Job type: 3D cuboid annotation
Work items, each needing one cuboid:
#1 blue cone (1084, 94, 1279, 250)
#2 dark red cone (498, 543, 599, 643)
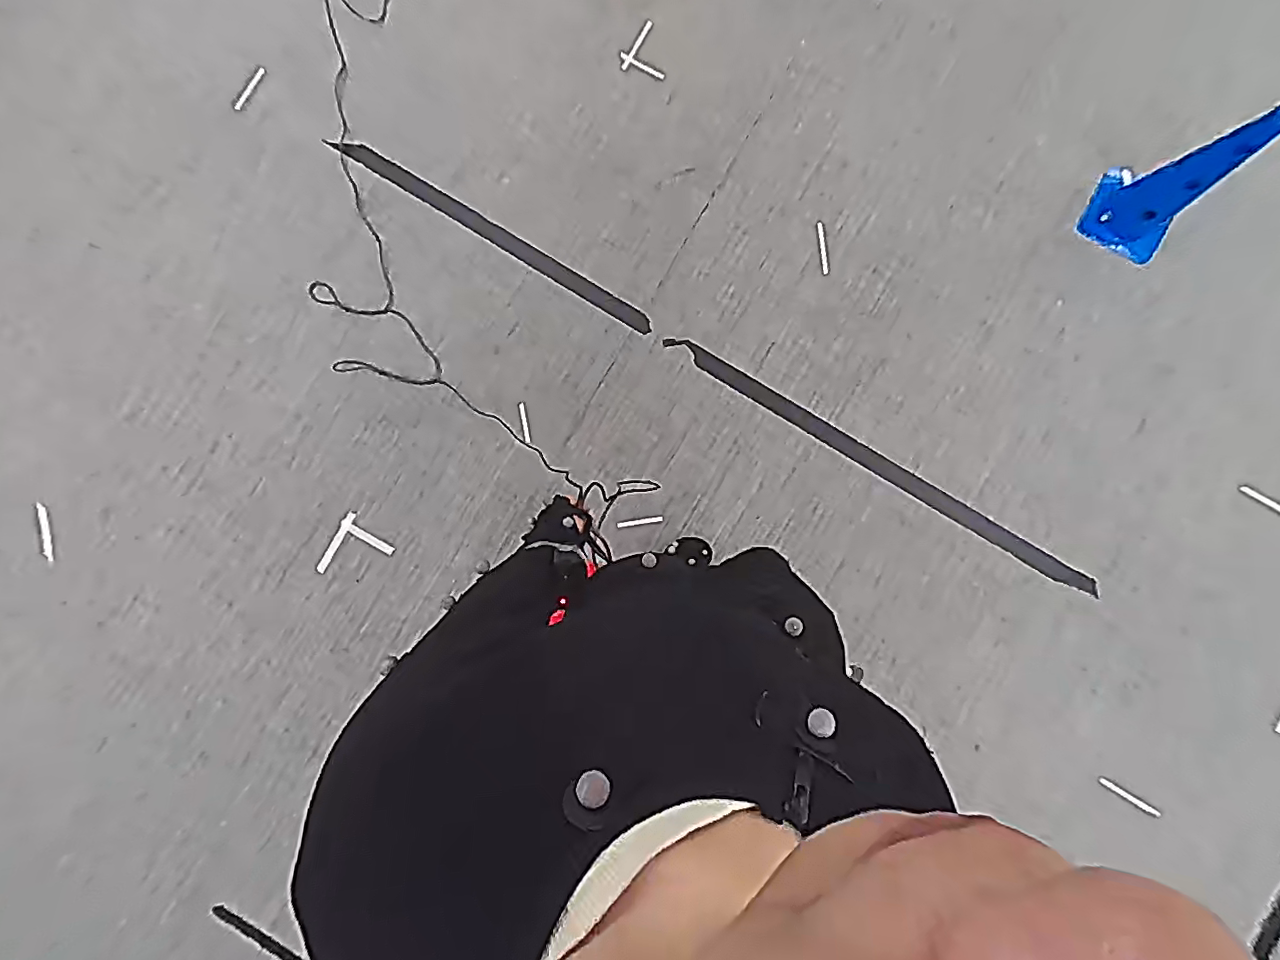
[{"bbox_3d":[1.241,-0.705,1.212,0.193,0.380,0.192,32,87,4],"label":"blue cone"},{"bbox_3d":[-0.229,0.263,1.172,0.202,0.394,0.201,23,86,3],"label":"dark red cone"}]
